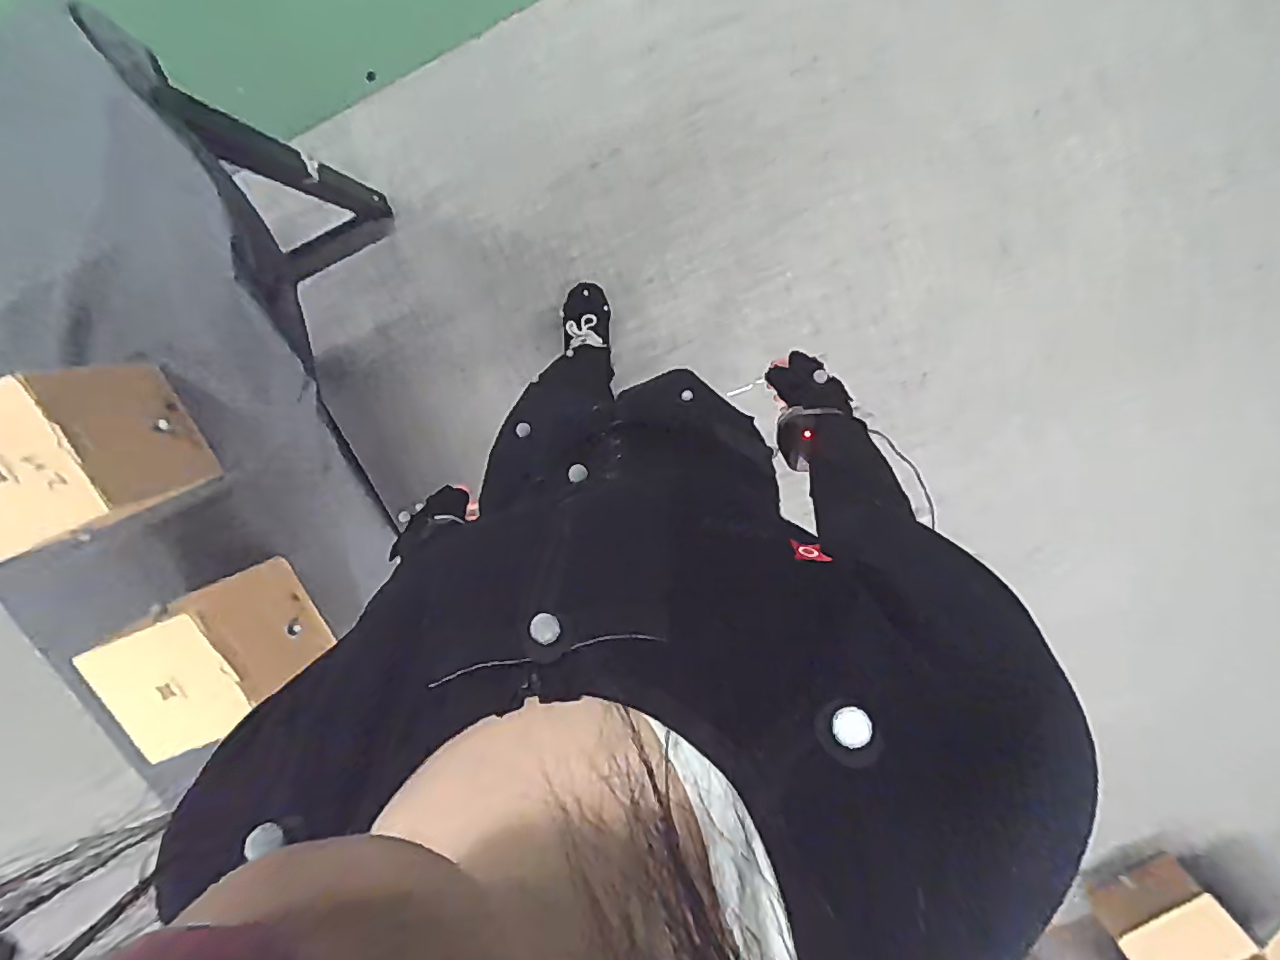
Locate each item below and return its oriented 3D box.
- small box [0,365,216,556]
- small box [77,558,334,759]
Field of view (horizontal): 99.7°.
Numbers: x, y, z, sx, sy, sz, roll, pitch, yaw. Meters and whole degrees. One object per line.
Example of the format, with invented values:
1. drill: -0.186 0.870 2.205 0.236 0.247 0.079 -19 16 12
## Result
1. small box: -0.689 -0.031 0.662 0.179 0.176 0.168 -22 105 7
2. small box: -0.569 0.232 0.737 0.179 0.176 0.168 -22 104 6
